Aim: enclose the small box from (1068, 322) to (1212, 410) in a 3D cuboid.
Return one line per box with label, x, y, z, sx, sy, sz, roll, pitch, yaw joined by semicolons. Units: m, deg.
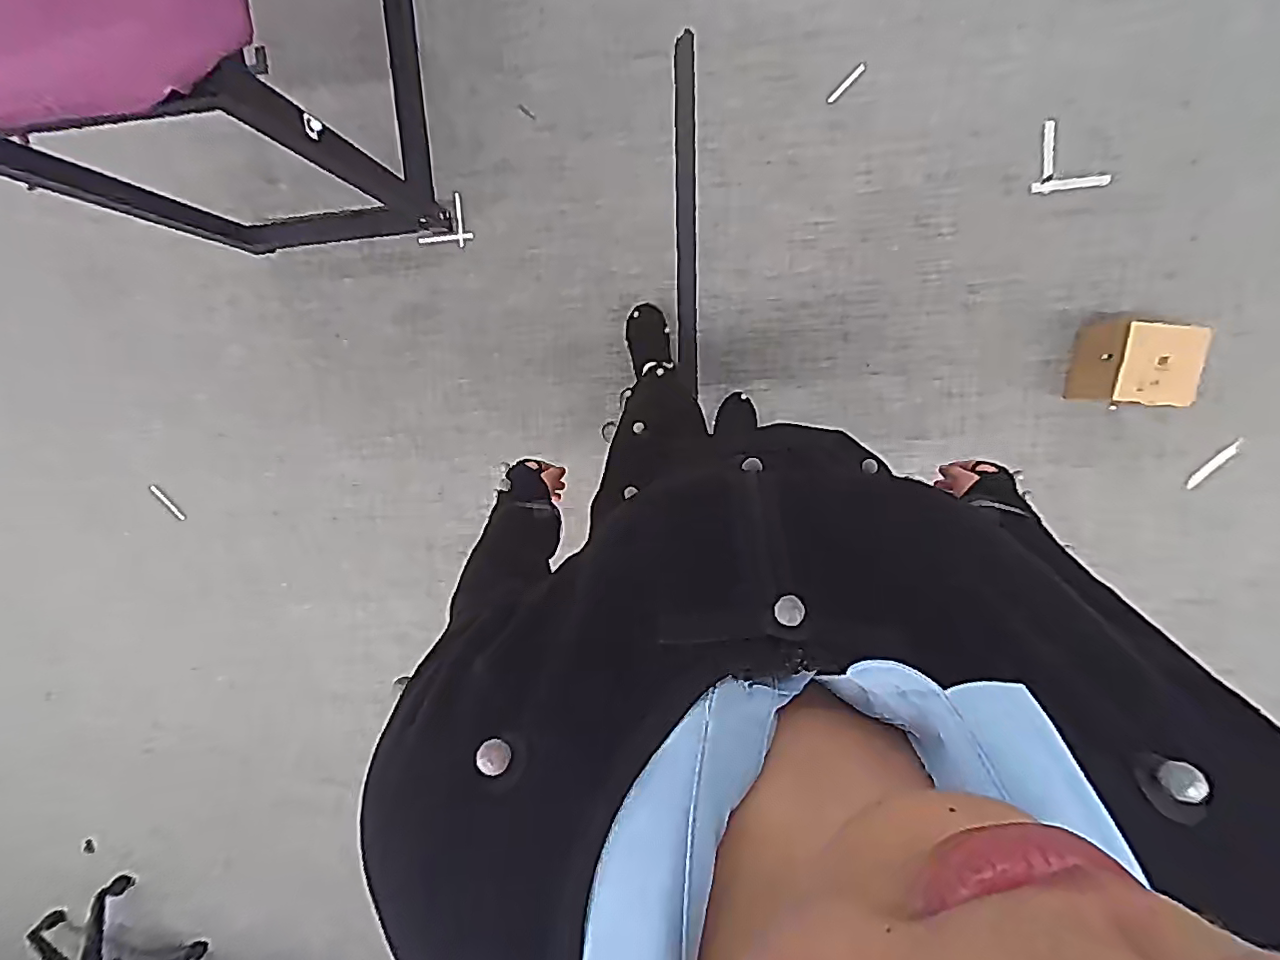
small box;1.154;-0.263;1.265;0.168;0.176;0.179;8;100;5
